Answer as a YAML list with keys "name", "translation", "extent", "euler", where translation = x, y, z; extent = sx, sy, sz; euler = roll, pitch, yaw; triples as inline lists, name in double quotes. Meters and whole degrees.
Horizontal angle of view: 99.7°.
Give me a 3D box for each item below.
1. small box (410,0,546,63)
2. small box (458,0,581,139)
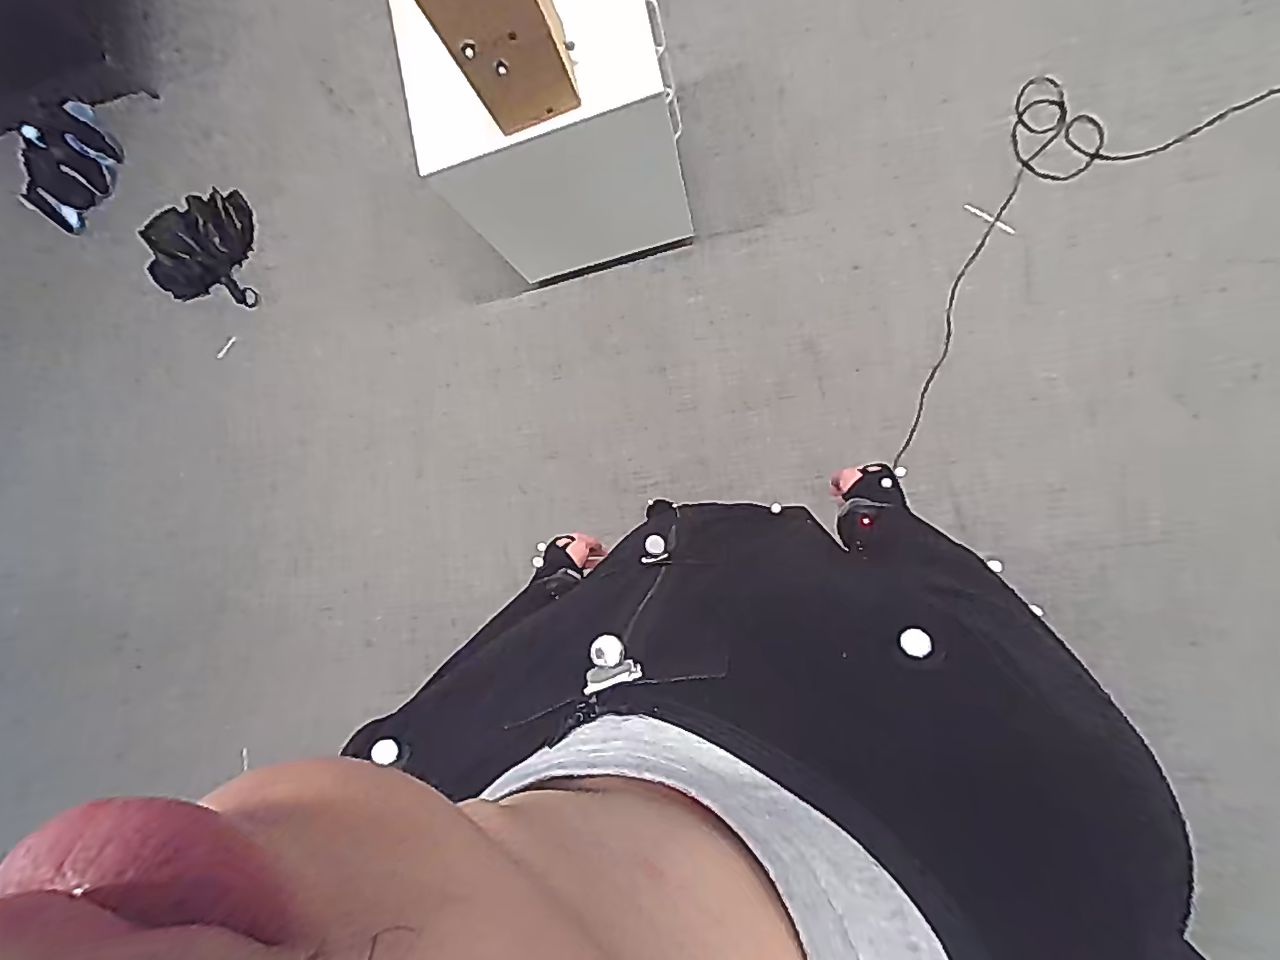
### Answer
- name: "small box"
  translation: [-0.255, -0.775, 0.806]
  extent: [0.168, 0.176, 0.179]
  euler: [-15, 83, 11]
- name: "small box"
  translation: [-0.221, -0.766, 0.967]
  extent: [0.168, 0.176, 0.179]
  euler: [-16, 83, 11]
